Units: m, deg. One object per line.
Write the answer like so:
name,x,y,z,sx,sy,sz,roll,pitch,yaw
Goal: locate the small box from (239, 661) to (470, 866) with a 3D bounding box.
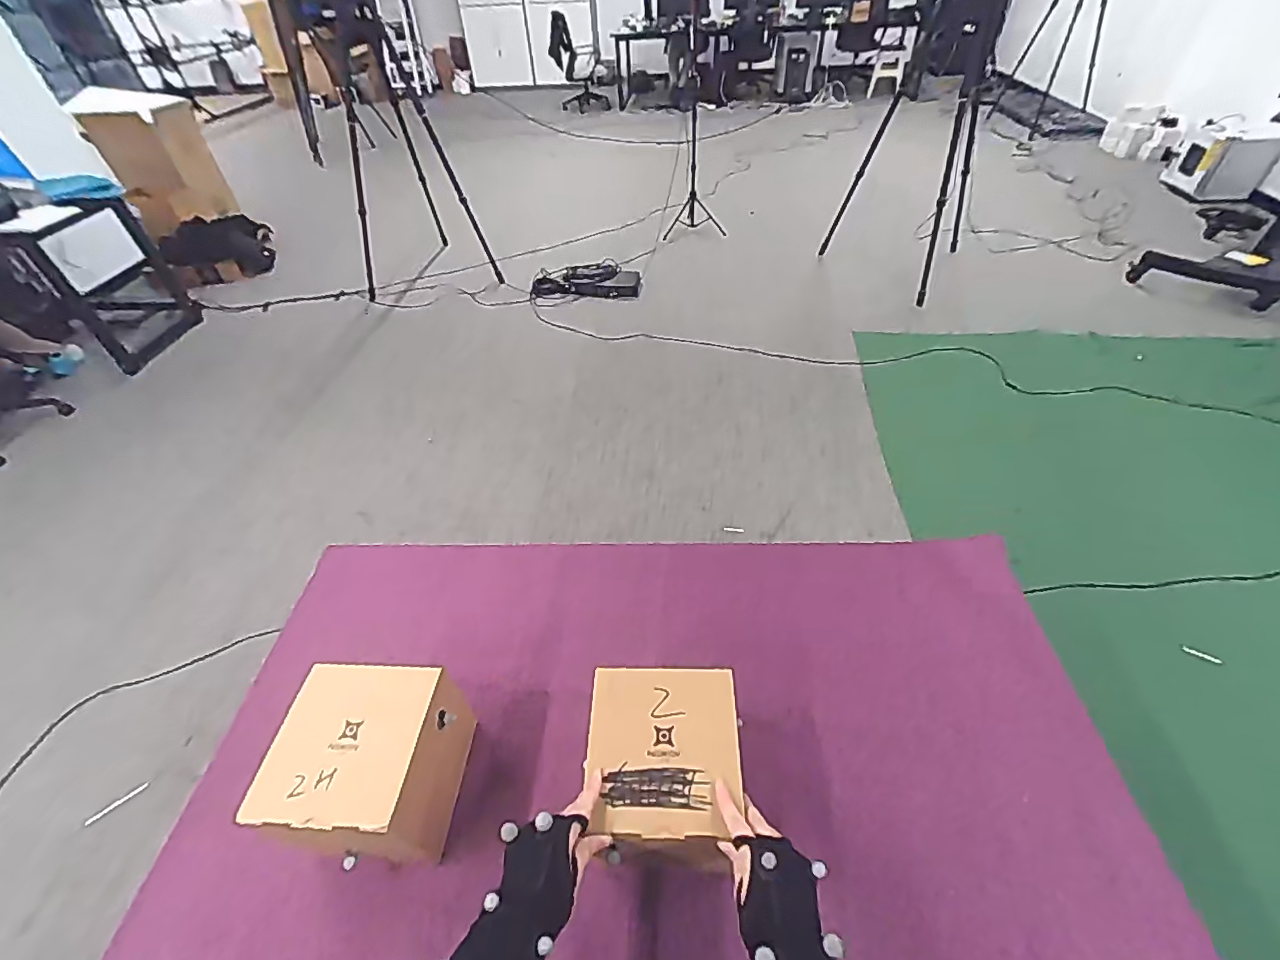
small box,-0.323,0.345,0.662,0.168,0.176,0.179,0,45,4
